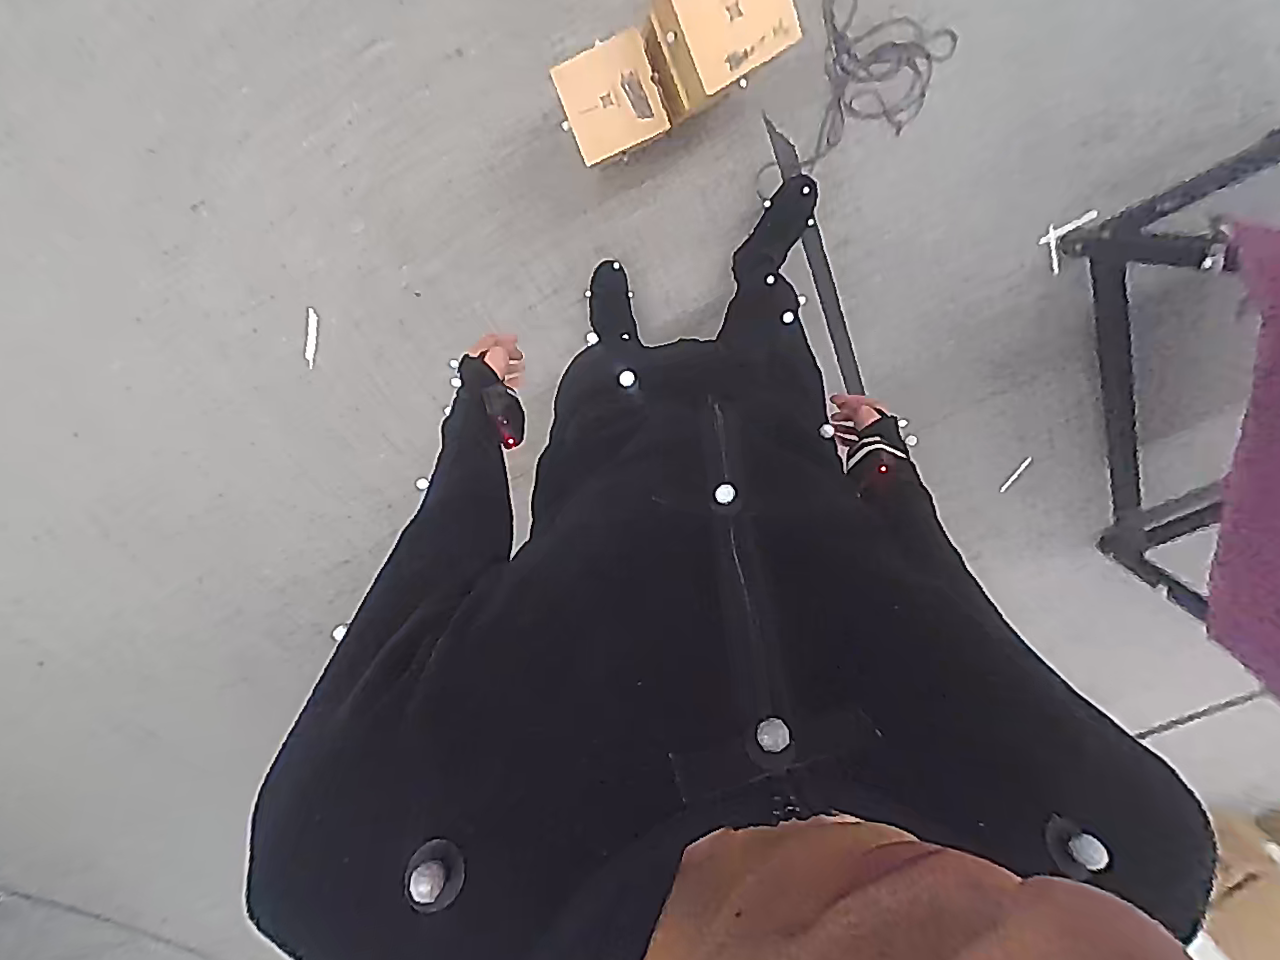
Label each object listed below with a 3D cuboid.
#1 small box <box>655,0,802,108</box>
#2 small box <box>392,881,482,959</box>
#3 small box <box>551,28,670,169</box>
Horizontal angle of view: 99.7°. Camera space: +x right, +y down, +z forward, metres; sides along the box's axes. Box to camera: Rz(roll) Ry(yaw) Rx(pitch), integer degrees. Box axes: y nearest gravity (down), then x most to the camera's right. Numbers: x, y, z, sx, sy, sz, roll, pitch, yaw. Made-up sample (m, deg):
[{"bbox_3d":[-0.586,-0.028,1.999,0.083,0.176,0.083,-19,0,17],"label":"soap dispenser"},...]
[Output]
[{"bbox_3d":[0.133,-0.741,0.869,0.168,0.176,0.179,-26,115,11],"label":"small box"},{"bbox_3d":[-0.607,1.366,1.643,0.179,0.176,0.168,-24,117,10],"label":"small box"},{"bbox_3d":[-0.054,-0.728,1.052,0.179,0.176,0.168,-20,117,10],"label":"small box"}]
